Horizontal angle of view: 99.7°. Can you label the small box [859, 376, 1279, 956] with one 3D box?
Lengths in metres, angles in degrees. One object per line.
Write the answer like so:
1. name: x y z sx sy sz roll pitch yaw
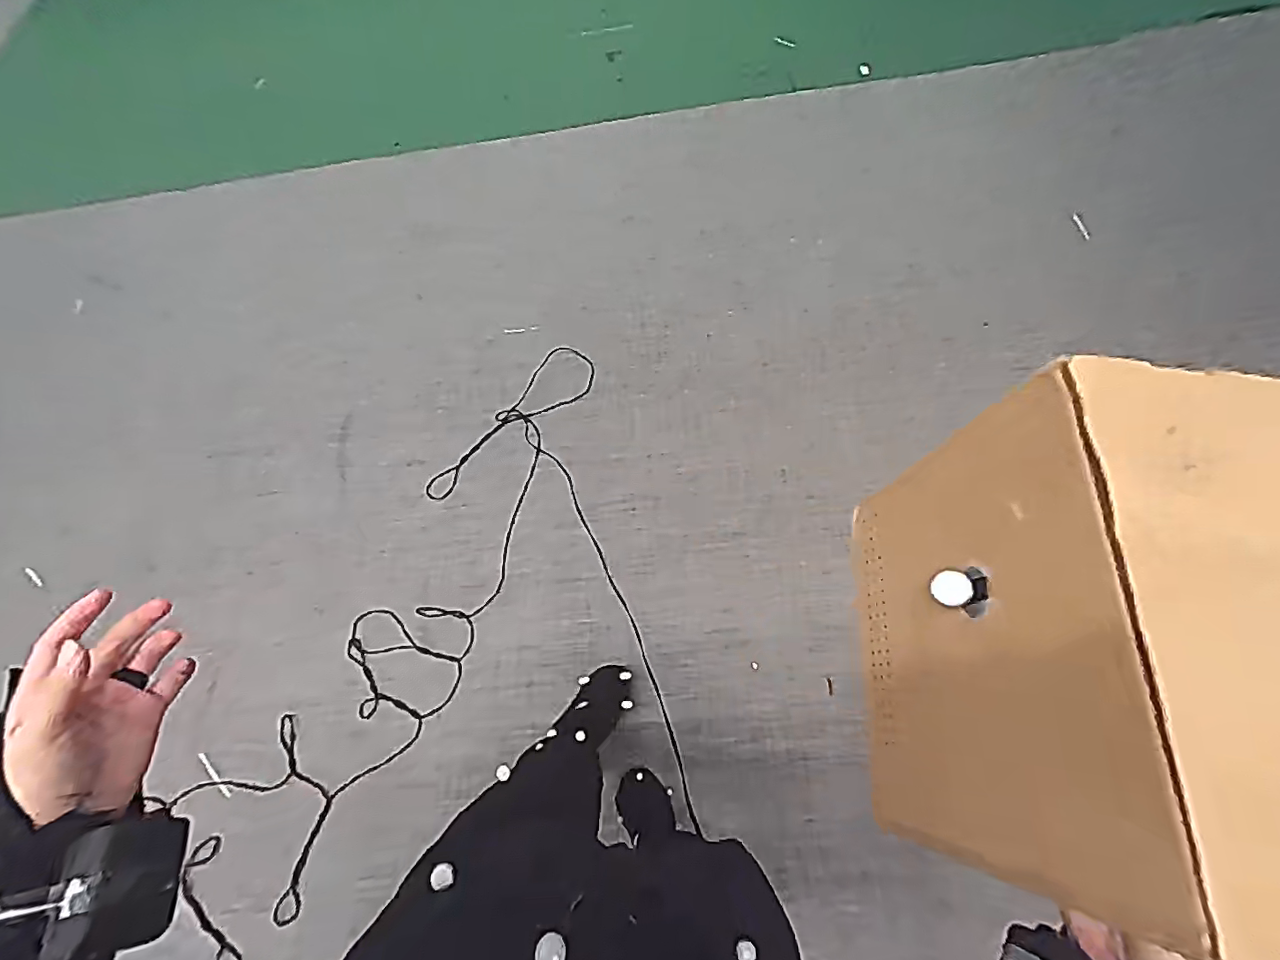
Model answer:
1. small box: 0.218 0.079 0.247 0.168 0.176 0.179 6 66 -4
